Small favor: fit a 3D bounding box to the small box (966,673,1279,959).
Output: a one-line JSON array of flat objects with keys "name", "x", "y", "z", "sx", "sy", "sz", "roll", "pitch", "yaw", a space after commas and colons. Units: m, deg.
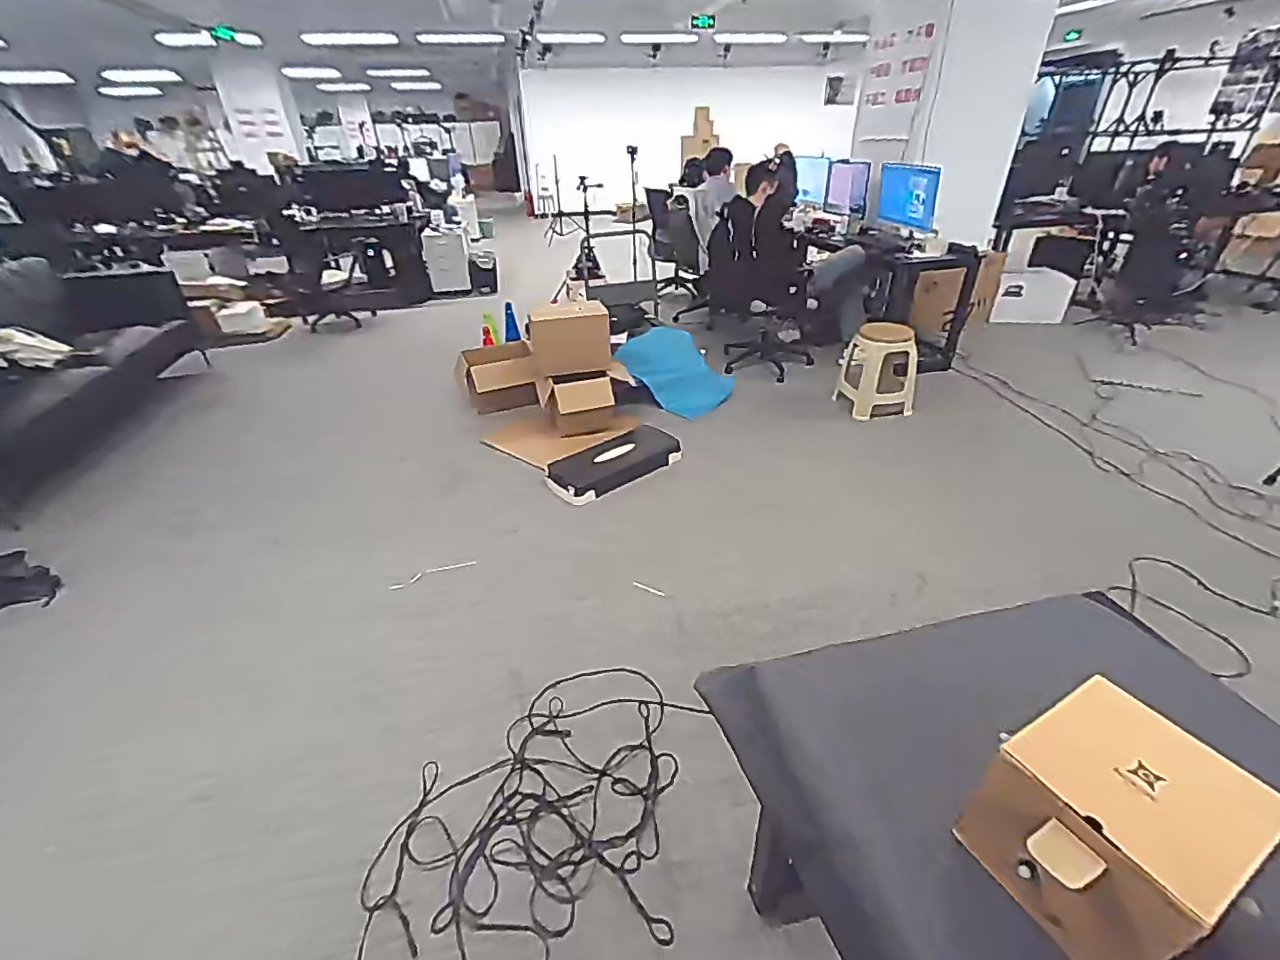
[{"name": "small box", "x": 0.468, "y": 0.338, "z": 0.541, "sx": 0.179, "sy": 0.176, "sz": 0.168, "roll": -18, "pitch": 36, "yaw": -23}]
